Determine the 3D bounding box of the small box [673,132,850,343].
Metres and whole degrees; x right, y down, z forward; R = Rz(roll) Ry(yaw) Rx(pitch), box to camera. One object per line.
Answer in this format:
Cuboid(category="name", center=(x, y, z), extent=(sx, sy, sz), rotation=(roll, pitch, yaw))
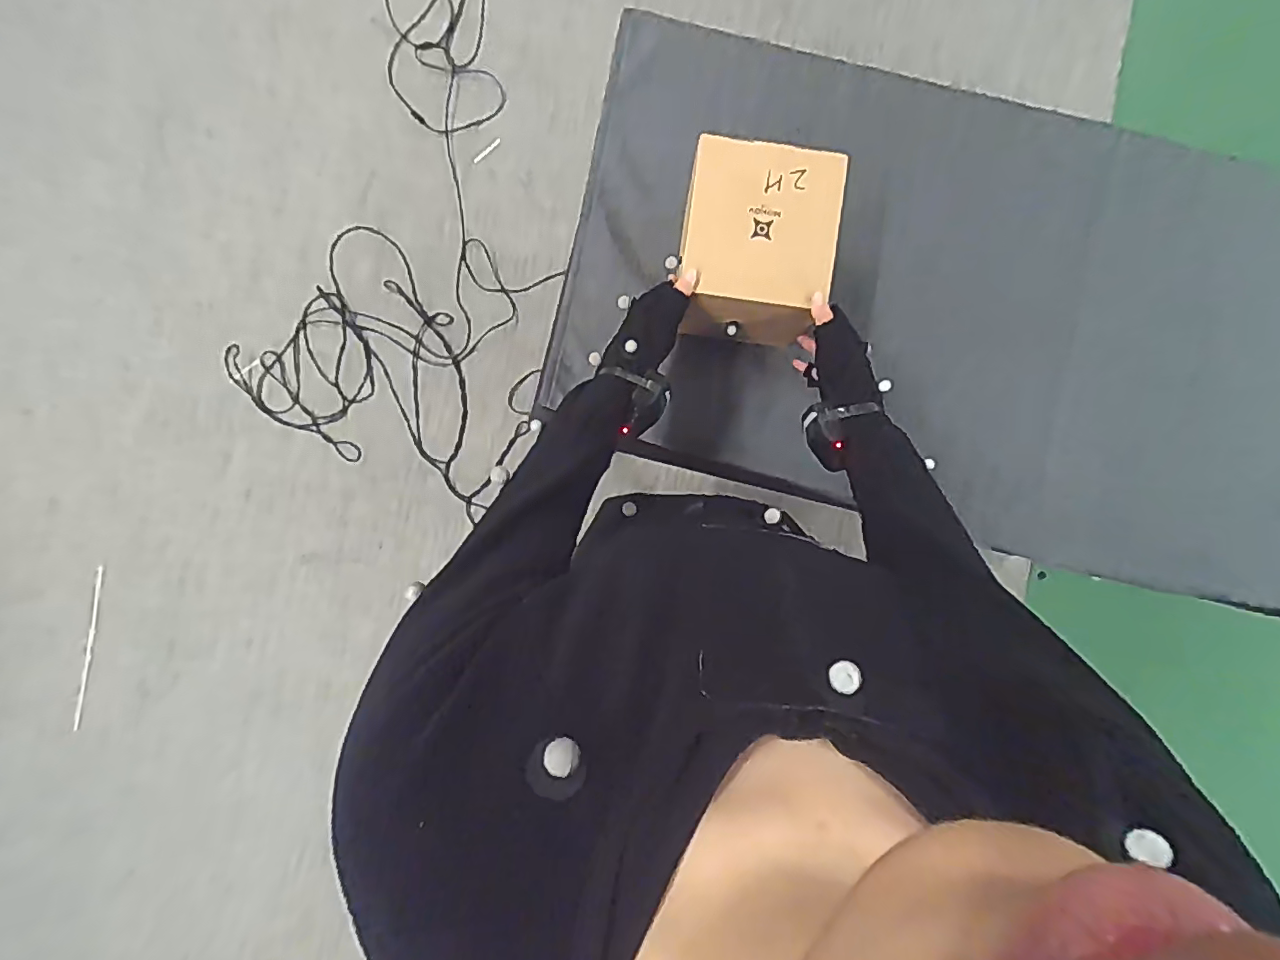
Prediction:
Cuboid(category="small box", center=(0.135, -0.280, 0.666), extent=(0.168, 0.176, 0.179), rotation=(8, 90, -1))
